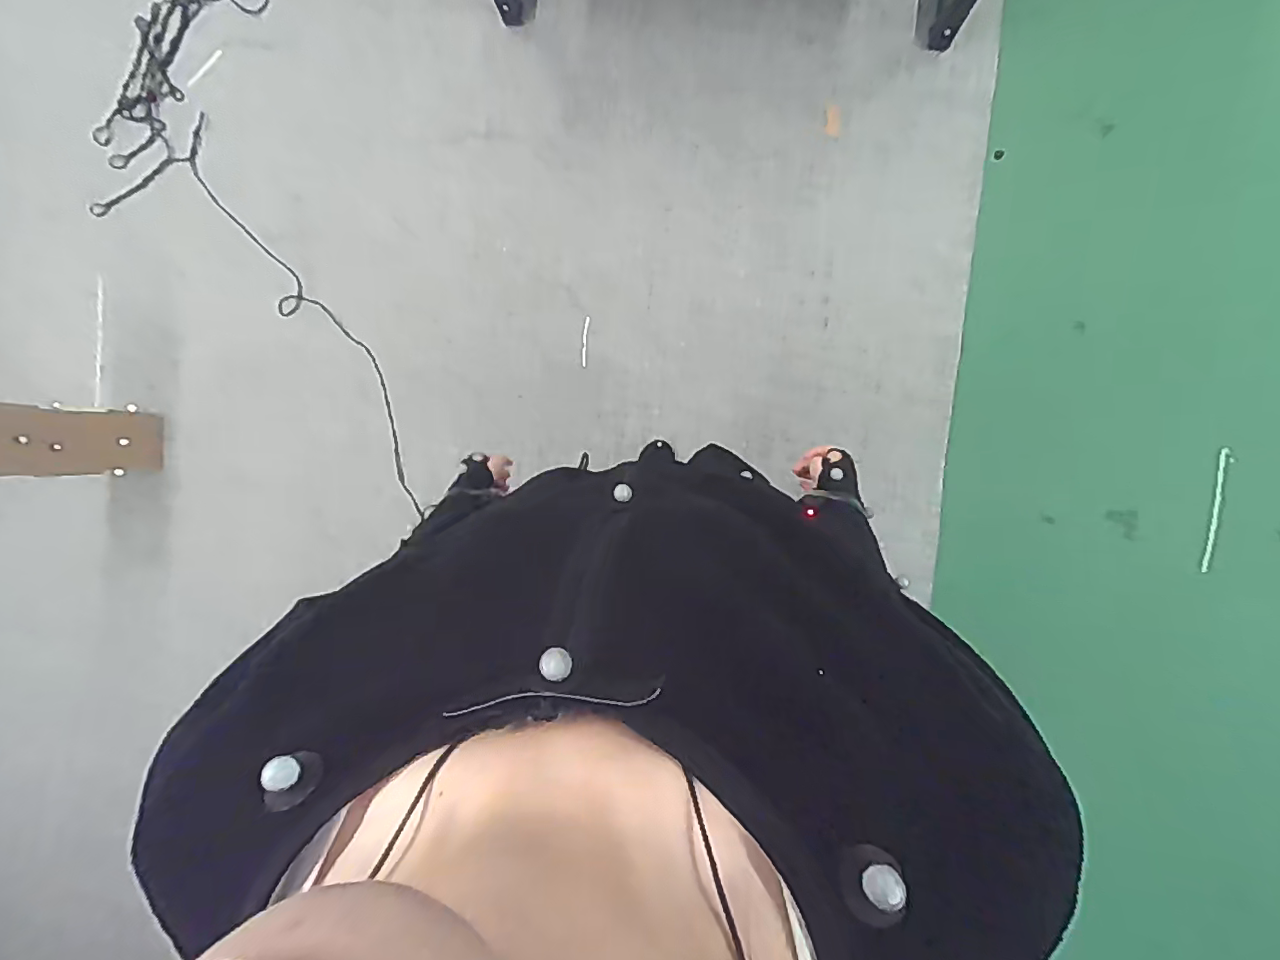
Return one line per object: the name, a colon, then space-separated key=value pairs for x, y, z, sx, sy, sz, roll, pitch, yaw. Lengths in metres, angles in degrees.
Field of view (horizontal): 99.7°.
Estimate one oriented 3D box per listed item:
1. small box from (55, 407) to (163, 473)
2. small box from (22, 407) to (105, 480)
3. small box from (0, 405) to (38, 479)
small box: x=-1.551 y=-0.115 z=1.585 sx=0.168 sy=0.176 sz=0.179 roll=5 pitch=92 yaw=6
small box: x=-1.569 y=-0.098 z=1.423 sx=0.168 sy=0.176 sz=0.179 roll=5 pitch=93 yaw=4
small box: x=-1.570 y=-0.095 z=1.259 sx=0.168 sy=0.176 sz=0.179 roll=3 pitch=92 yaw=5
